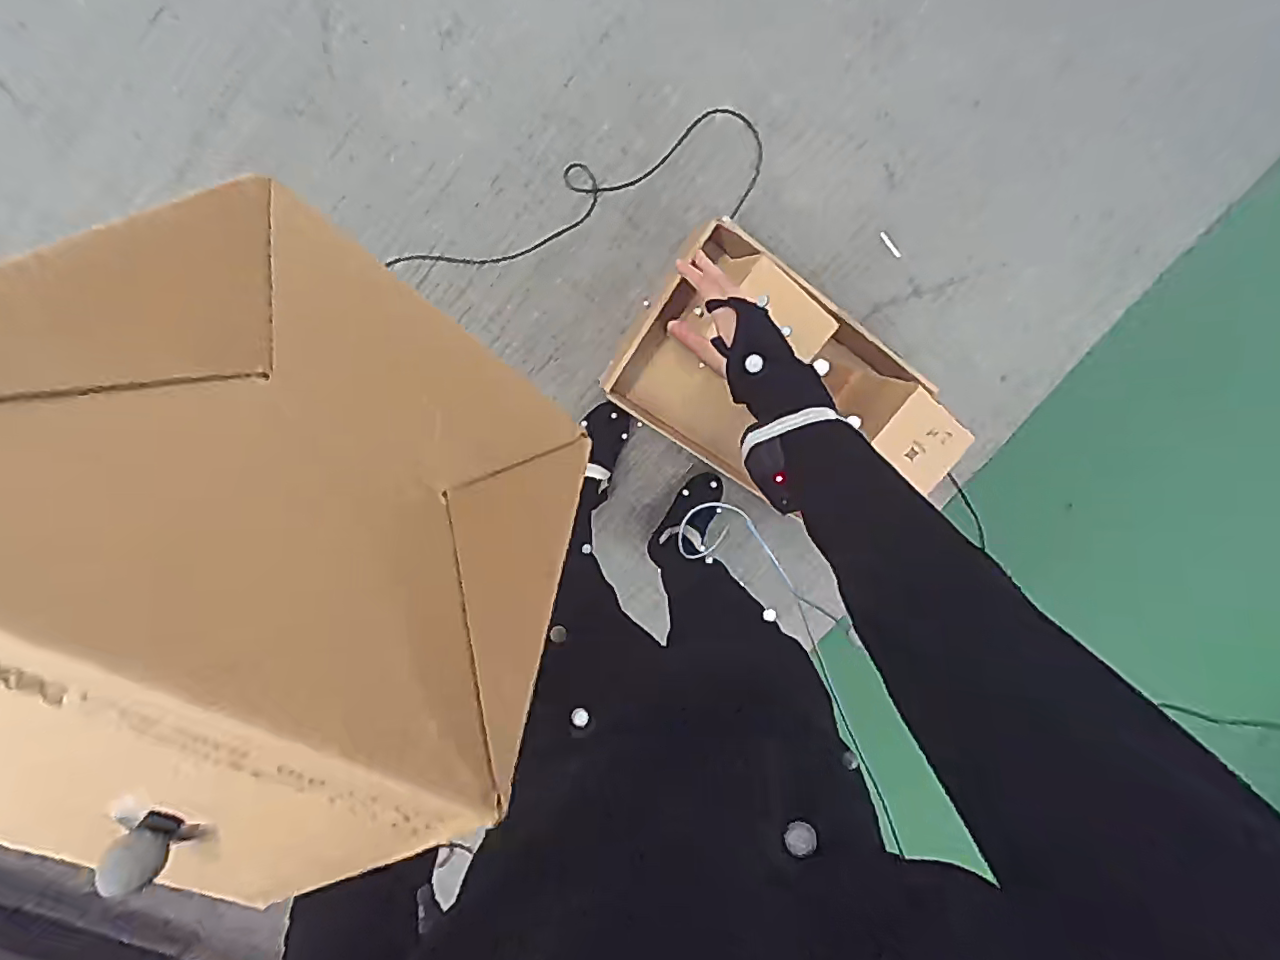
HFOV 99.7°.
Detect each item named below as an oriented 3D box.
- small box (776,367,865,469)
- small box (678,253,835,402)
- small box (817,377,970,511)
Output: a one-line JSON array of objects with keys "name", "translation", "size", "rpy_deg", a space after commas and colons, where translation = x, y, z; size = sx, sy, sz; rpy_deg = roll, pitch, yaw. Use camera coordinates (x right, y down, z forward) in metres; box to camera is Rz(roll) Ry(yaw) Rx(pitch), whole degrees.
[{"name": "small box", "translation": [0.433, -0.134, 1.187], "size": [0.179, 0.176, 0.168], "rpy_deg": [36, 99, -17]}, {"name": "small box", "translation": [0.189, -0.261, 0.935], "size": [0.179, 0.176, 0.168], "rpy_deg": [36, 100, -18]}, {"name": "small box", "translation": [0.469, -0.075, 1.036], "size": [0.168, 0.176, 0.179], "rpy_deg": [35, 98, -18]}]
